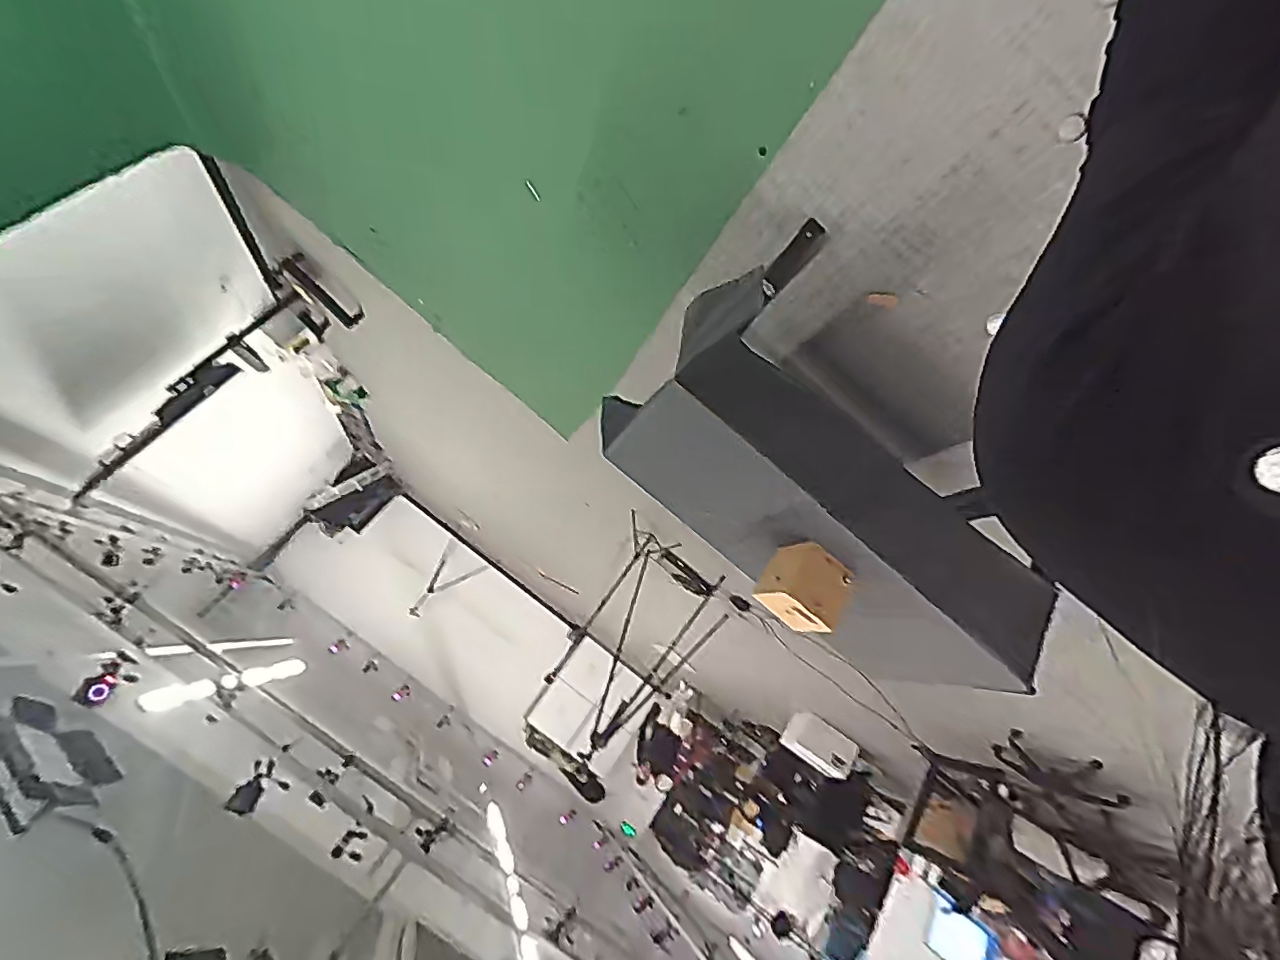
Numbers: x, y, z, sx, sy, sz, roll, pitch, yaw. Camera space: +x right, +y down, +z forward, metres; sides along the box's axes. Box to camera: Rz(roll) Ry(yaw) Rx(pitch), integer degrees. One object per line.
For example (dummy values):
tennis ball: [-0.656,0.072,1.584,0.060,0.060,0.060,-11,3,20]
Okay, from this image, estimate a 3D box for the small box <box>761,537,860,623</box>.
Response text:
small box: [0.468,0.270,1.467,0.168,0.176,0.179,40,158,-5]
